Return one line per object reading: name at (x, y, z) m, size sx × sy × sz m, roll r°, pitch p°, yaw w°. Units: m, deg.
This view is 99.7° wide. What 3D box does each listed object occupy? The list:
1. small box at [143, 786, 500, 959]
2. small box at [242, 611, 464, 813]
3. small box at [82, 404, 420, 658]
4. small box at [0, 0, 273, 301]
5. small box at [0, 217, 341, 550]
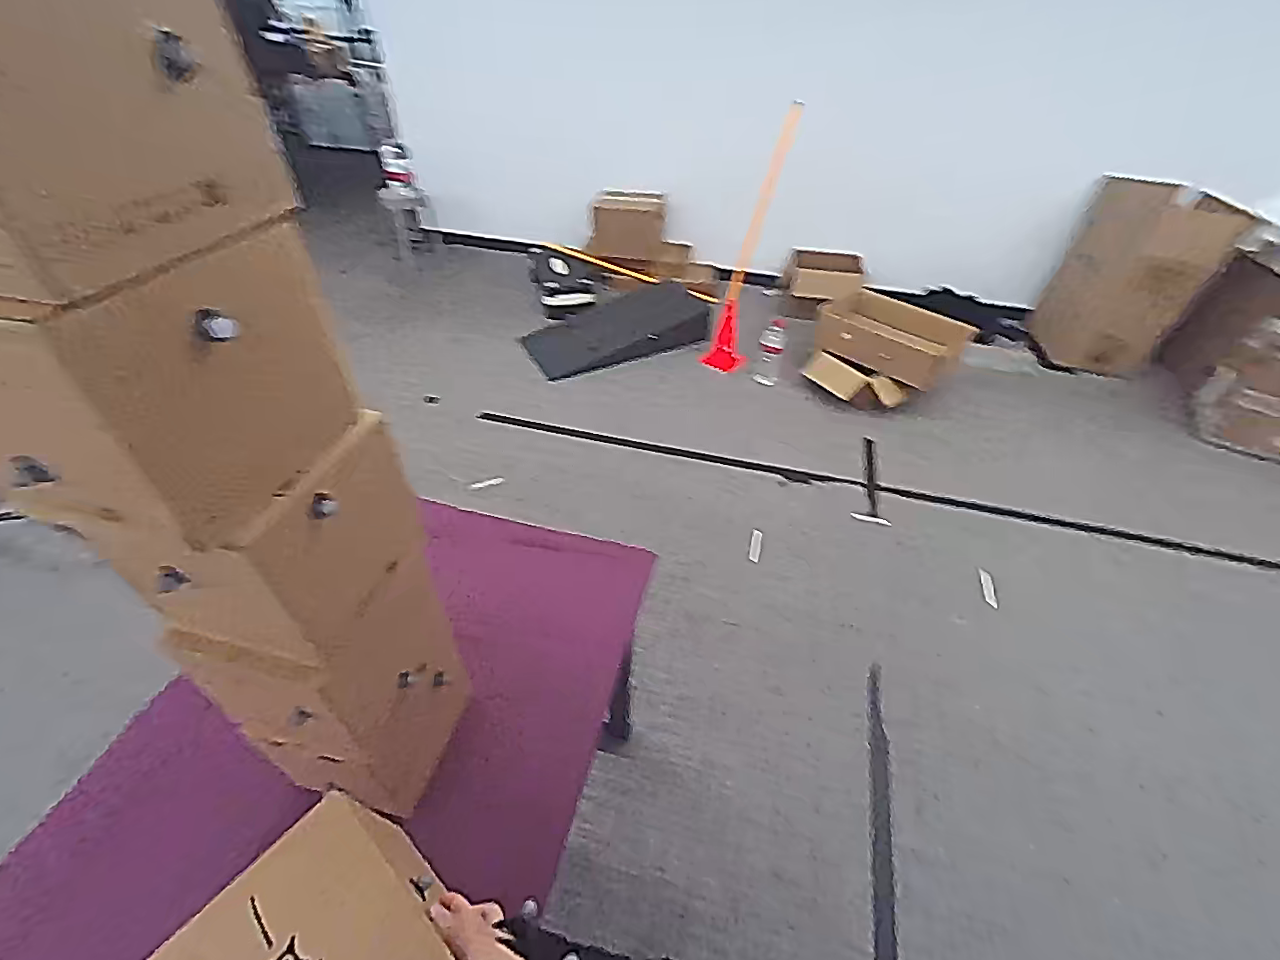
small box at (-0.239, 0.396, 0.439) m, size 0.179 × 0.176 × 0.168 m, roll 33°, pitch 55°, yaw 27°
small box at (-0.346, 0.292, 0.699) m, size 0.168 × 0.176 × 0.179 m, roll 10°, pitch 44°, yaw 10°
small box at (-0.336, 0.038, 0.493) m, size 0.179 × 0.176 × 0.168 m, roll 10°, pitch 43°, yaw 9°
small box at (-0.344, -0.206, 0.278) m, size 0.179 × 0.176 × 0.168 m, roll 8°, pitch 41°, yaw 8°
small box at (-0.346, -0.080, 0.380) m, size 0.168 × 0.176 × 0.179 m, roll 10°, pitch 43°, yaw 8°
